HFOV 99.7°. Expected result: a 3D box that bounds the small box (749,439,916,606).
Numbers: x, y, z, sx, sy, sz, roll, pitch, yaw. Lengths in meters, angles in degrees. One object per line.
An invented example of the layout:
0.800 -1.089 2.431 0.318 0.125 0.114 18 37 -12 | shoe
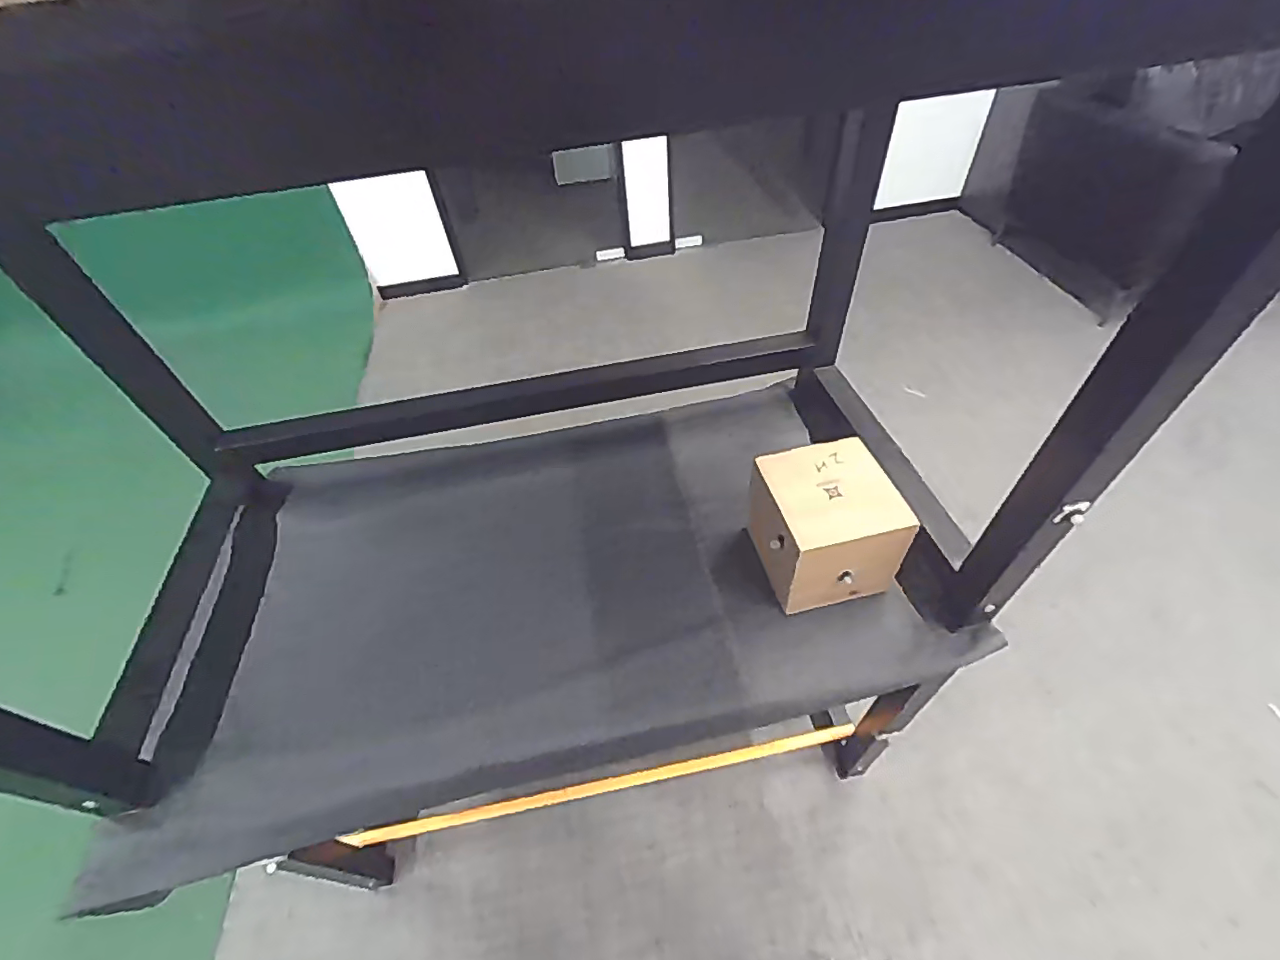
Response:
0.271 0.069 0.807 0.168 0.176 0.179 -12 47 -5 | small box
